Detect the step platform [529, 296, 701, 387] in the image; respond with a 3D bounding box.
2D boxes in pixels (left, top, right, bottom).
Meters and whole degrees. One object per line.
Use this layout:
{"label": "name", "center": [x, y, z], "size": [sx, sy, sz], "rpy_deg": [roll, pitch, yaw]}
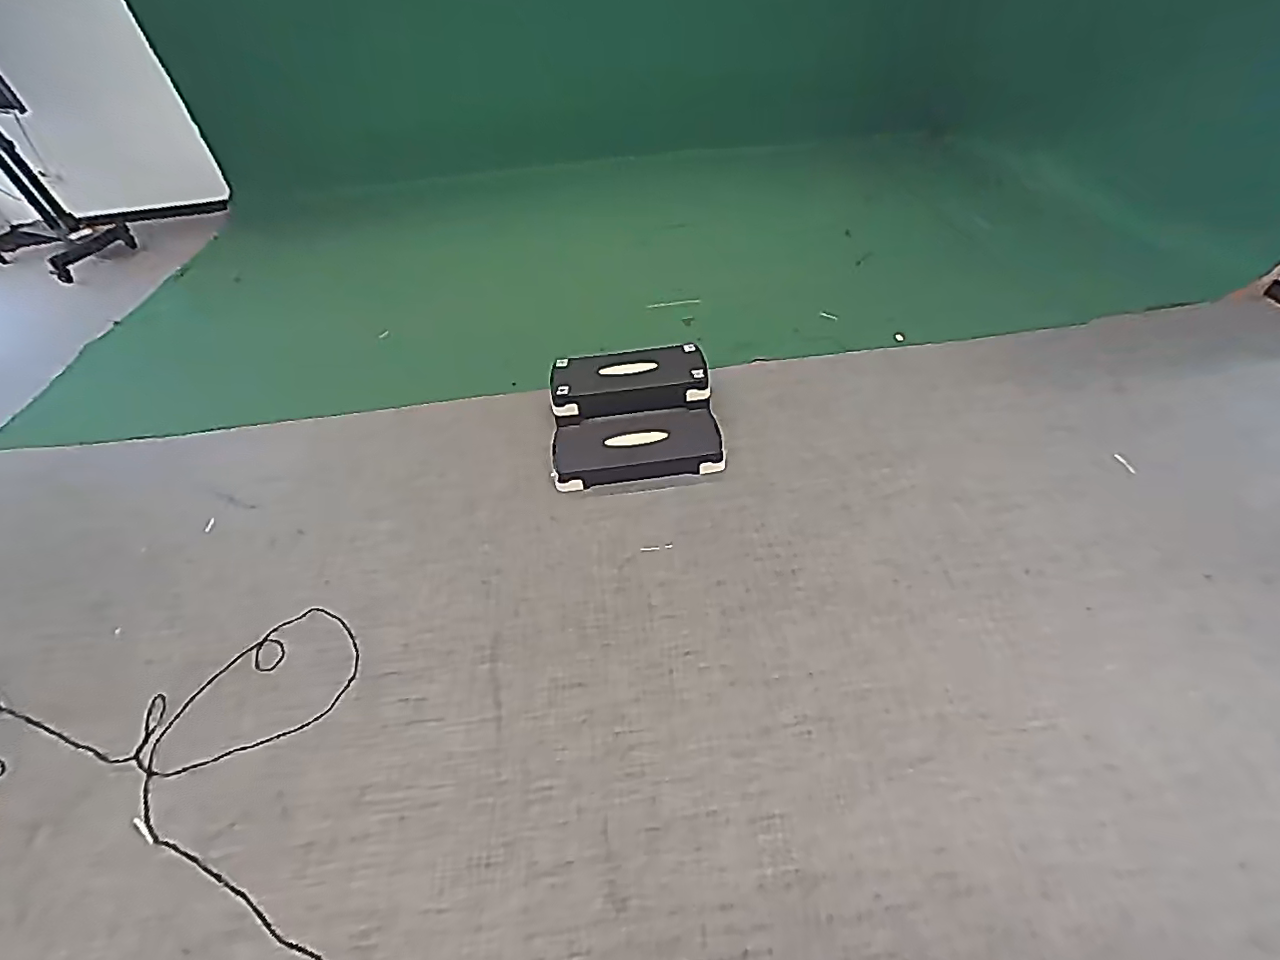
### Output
{"label": "step platform", "center": [-0.097, -0.569, 2.216], "size": [0.684, 0.204, 0.286], "rpy_deg": [-8, 47, -1]}
